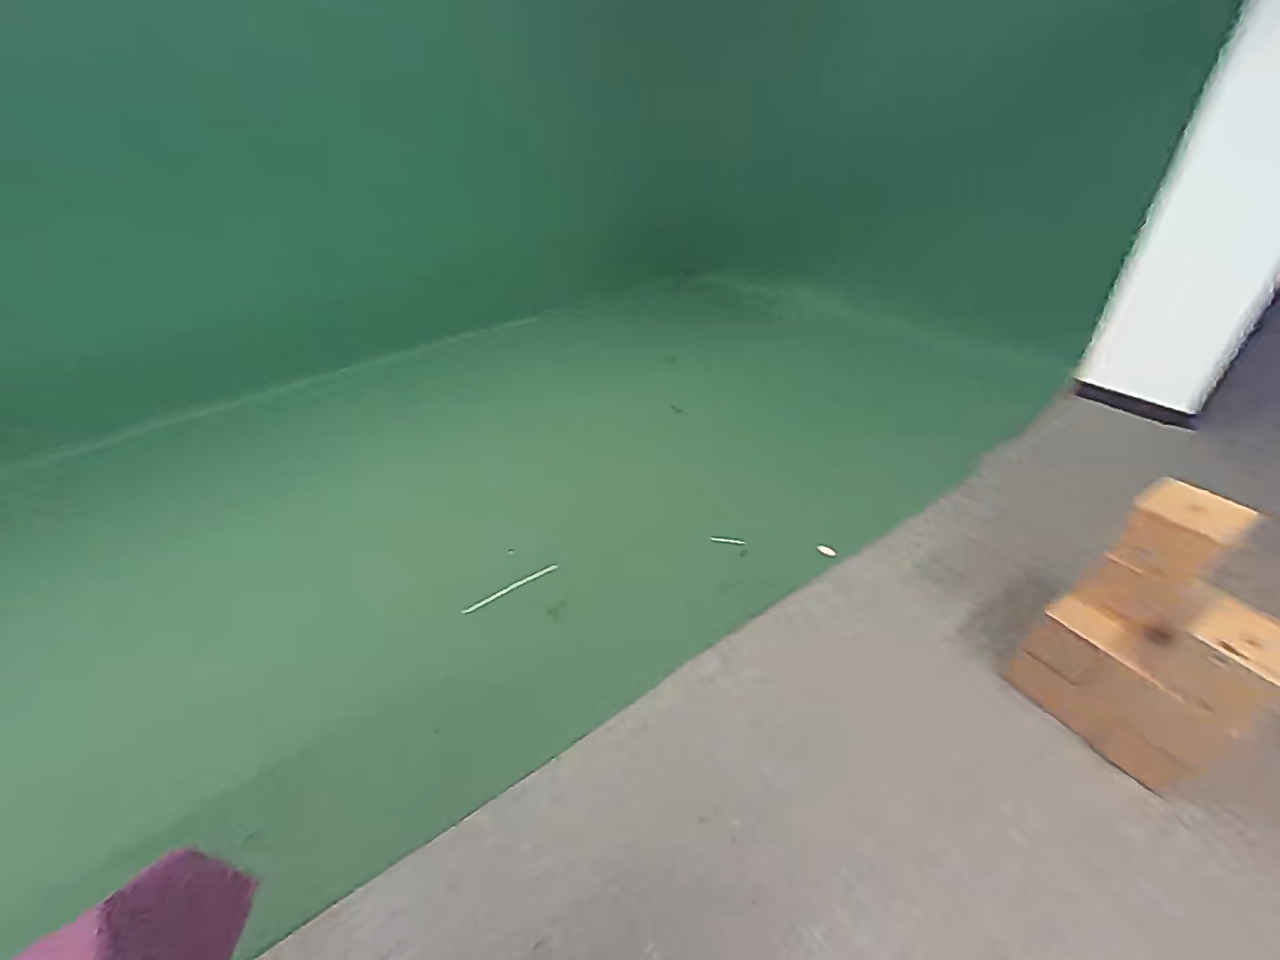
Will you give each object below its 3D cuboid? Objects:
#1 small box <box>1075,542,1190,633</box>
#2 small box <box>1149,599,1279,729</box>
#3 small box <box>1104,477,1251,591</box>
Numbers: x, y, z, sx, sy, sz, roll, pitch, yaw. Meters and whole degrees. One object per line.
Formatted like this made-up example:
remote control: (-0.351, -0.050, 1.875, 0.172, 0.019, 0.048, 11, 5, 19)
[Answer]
small box: (1.260, 0.257, 1.378, 0.179, 0.176, 0.168, -21, 40, -23)
small box: (1.279, 0.400, 1.181, 0.179, 0.176, 0.168, -20, 40, -22)
small box: (1.256, 0.127, 1.278, 0.179, 0.176, 0.168, -23, 41, -22)
